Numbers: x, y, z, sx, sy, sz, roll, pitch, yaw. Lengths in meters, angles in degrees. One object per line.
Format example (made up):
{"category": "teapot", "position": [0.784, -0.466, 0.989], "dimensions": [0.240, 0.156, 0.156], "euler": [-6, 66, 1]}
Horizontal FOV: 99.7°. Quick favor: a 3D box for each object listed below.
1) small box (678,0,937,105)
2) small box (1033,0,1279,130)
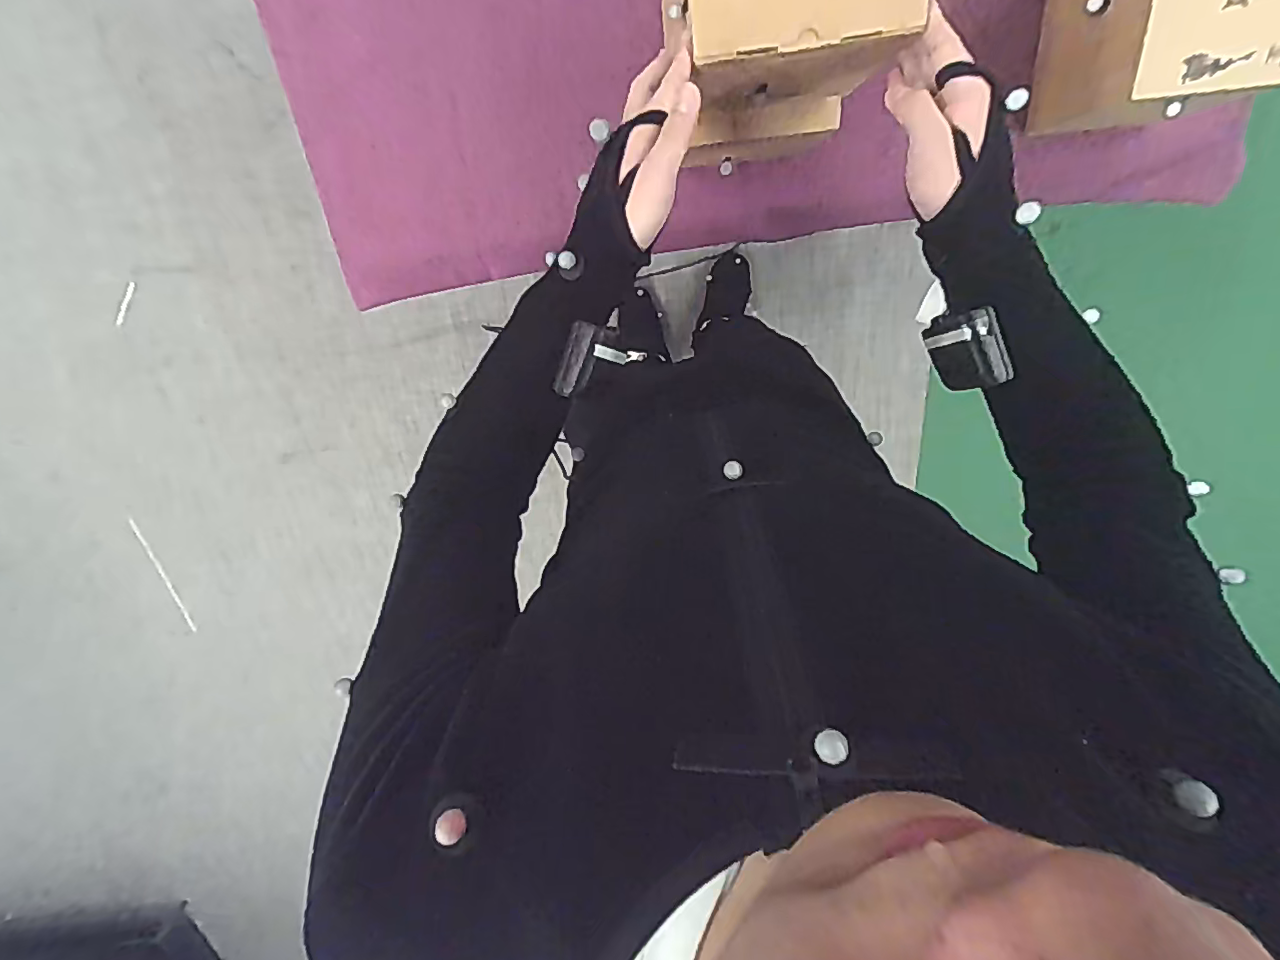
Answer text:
{"category": "small box", "position": [0.115, -0.421, 0.419], "dimensions": [0.168, 0.176, 0.179], "euler": [-6, 115, 3]}
{"category": "small box", "position": [0.569, -0.505, 0.583], "dimensions": [0.168, 0.176, 0.179], "euler": [-4, 112, 2]}
